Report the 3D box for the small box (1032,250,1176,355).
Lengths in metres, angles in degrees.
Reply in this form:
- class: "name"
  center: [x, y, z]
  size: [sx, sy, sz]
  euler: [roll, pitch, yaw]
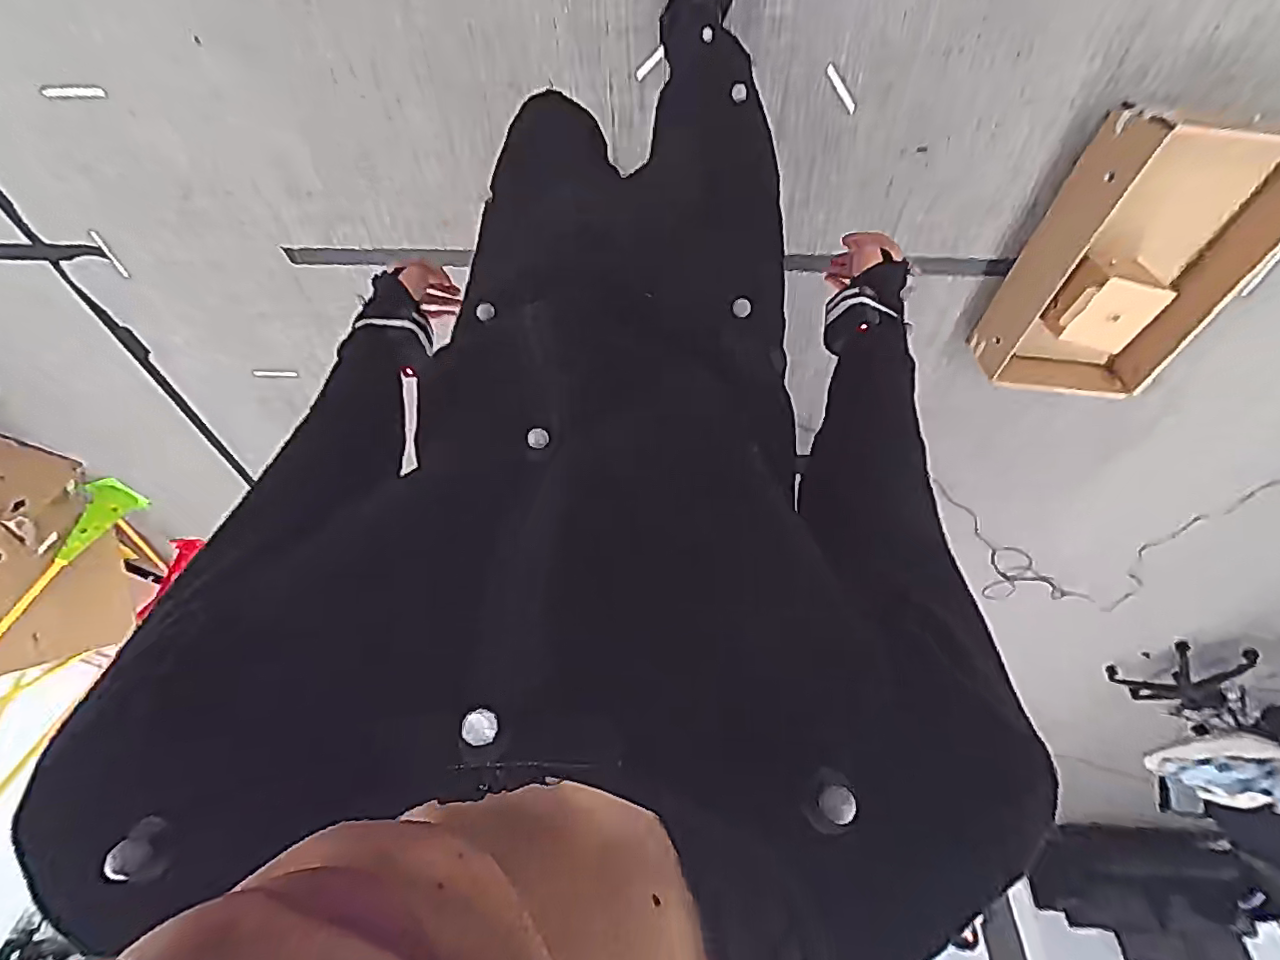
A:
- class: "small box"
  center: [1.118, -0.438, 1.323]
  size: [0.179, 0.176, 0.168]
  euler: [11, 138, -6]
